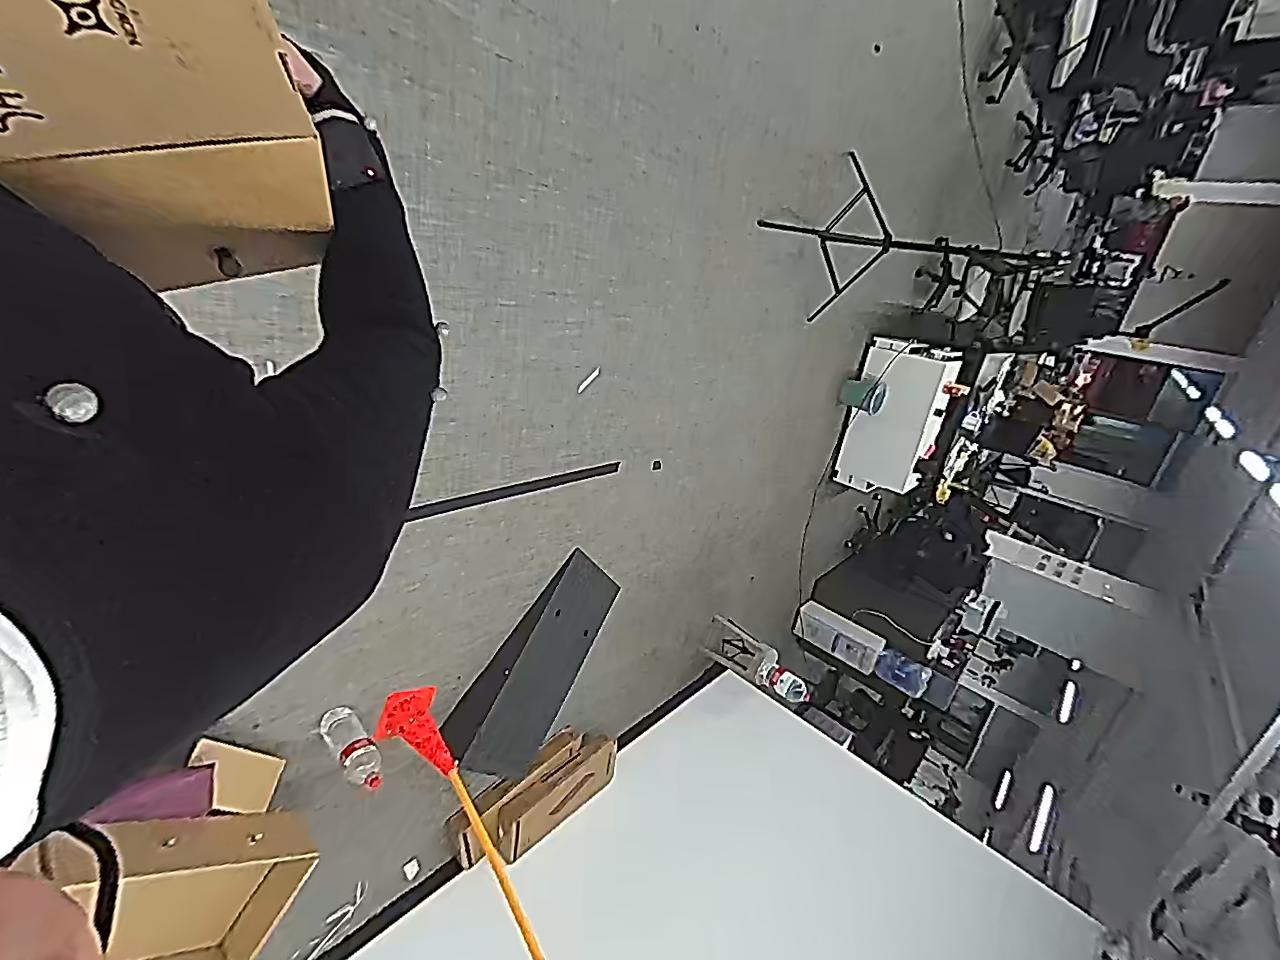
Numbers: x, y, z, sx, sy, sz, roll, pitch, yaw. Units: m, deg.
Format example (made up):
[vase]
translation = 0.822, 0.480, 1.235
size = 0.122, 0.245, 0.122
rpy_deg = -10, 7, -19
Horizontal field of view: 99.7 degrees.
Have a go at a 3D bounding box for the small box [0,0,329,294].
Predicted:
[small box]
translation = -0.359, -0.267, 0.412
size = 0.179, 0.176, 0.168
rpy_deg = -24, 92, -26
